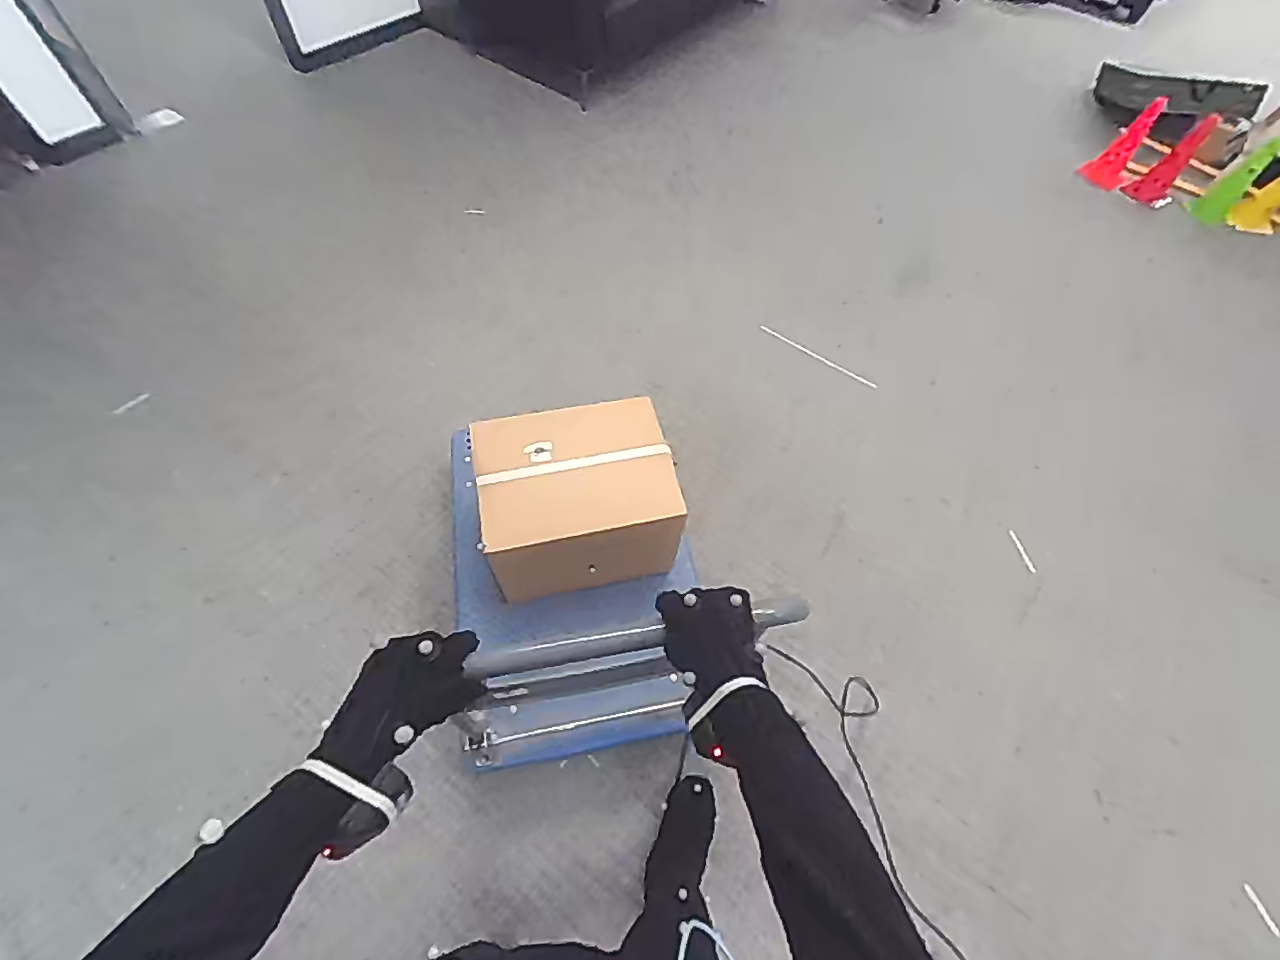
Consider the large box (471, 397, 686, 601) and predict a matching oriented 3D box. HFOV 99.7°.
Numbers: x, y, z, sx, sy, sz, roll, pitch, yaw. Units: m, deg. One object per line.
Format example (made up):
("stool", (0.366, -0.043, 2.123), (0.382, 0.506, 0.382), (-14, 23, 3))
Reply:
("large box", (-0.141, 0.050, 1.253), (0.408, 0.320, 0.320), (-11, 60, -10))
